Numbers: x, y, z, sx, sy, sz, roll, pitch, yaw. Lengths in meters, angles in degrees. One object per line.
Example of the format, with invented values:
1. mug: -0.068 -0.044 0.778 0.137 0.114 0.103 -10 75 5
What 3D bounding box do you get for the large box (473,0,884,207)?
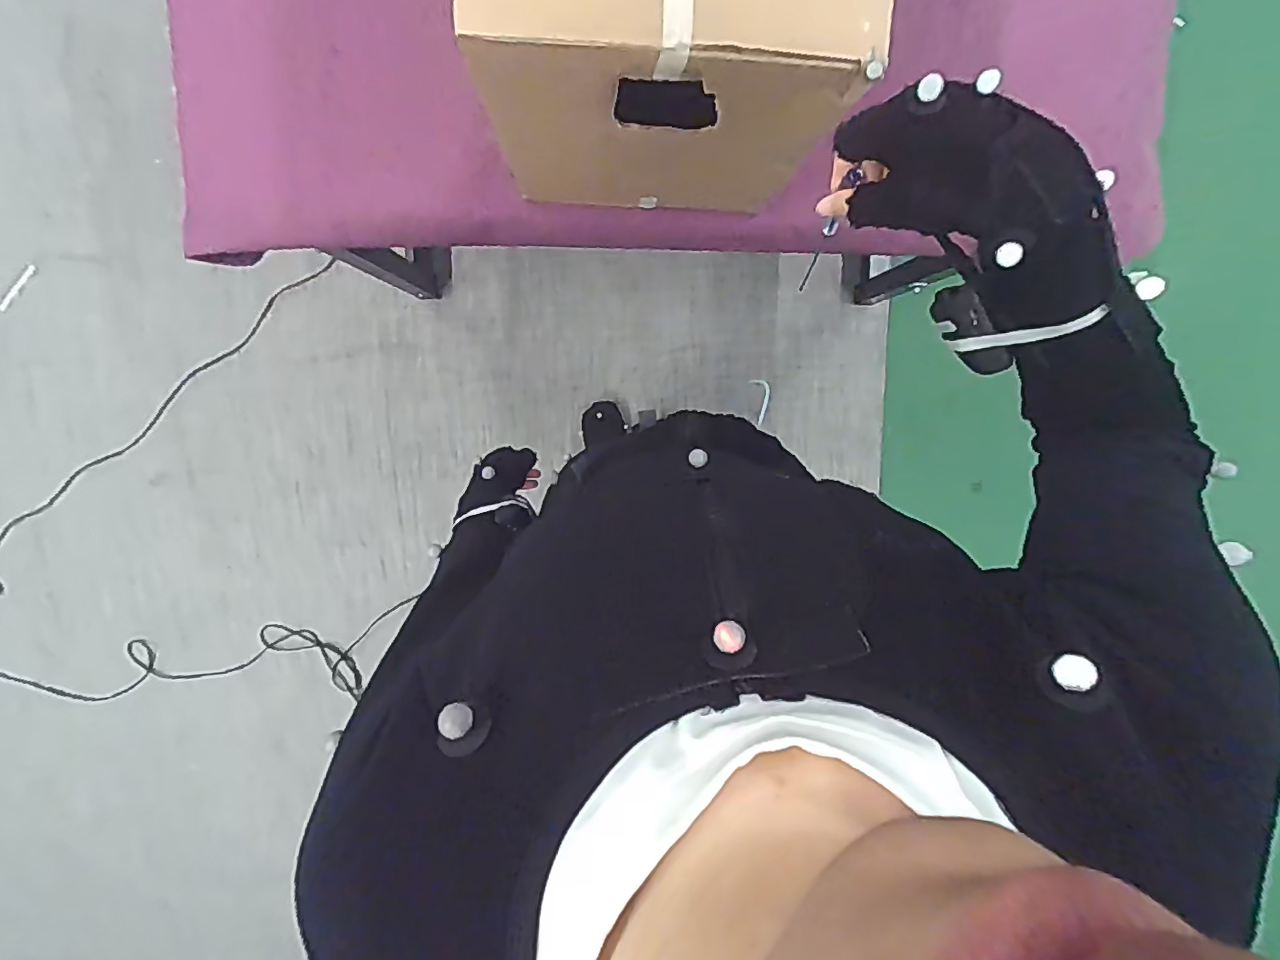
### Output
1. large box: 0.027 -0.534 0.521 0.320 0.320 0.408 2 99 -3
